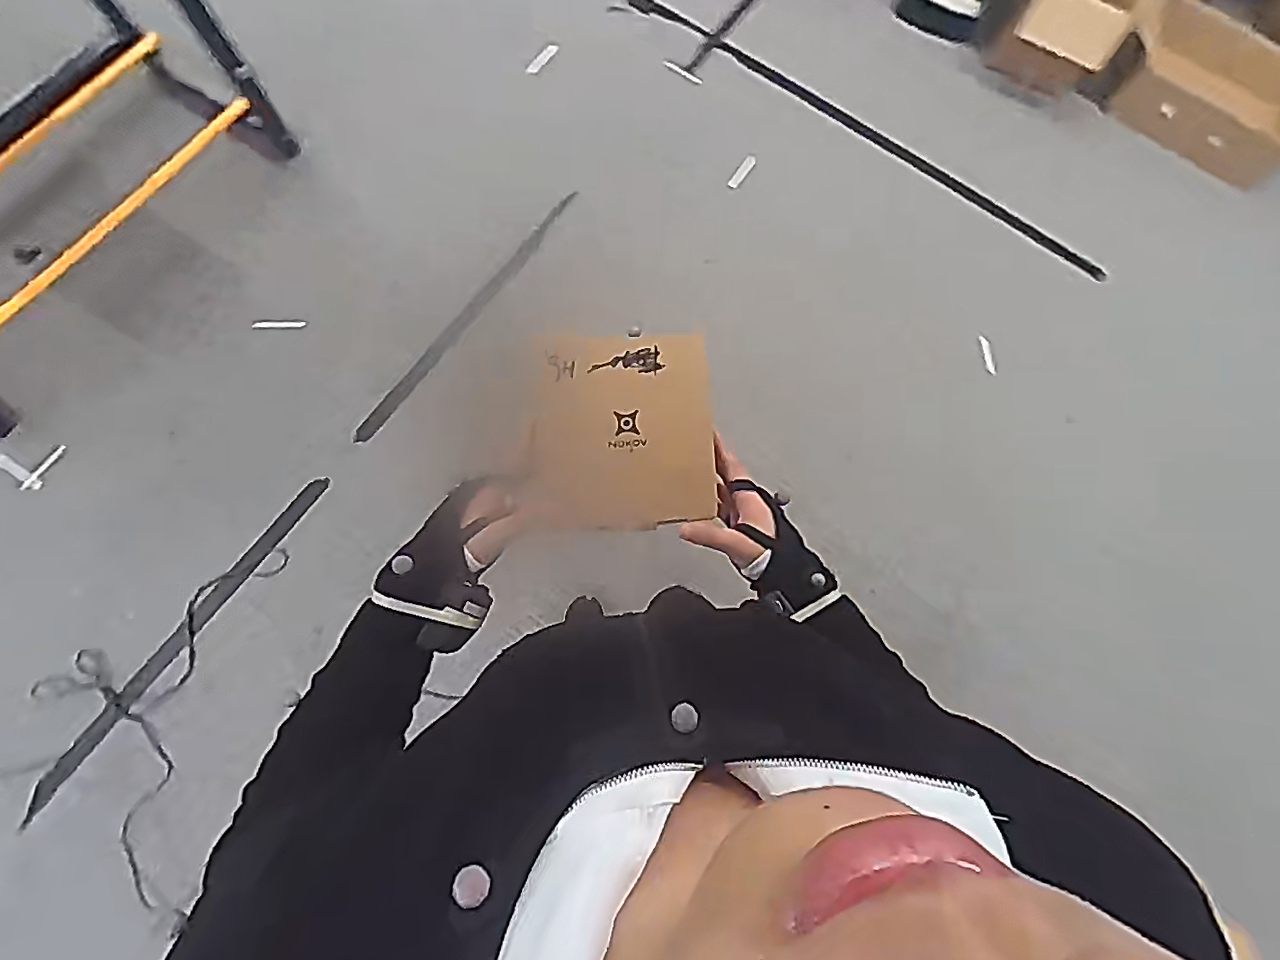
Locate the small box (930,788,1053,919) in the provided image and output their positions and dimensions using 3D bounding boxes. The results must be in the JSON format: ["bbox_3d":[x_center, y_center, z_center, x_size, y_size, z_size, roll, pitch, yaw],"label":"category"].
[{"bbox_3d":[0.626,0.645,0.887,0.179,0.176,0.168,35,75,6],"label":"small box"}]
